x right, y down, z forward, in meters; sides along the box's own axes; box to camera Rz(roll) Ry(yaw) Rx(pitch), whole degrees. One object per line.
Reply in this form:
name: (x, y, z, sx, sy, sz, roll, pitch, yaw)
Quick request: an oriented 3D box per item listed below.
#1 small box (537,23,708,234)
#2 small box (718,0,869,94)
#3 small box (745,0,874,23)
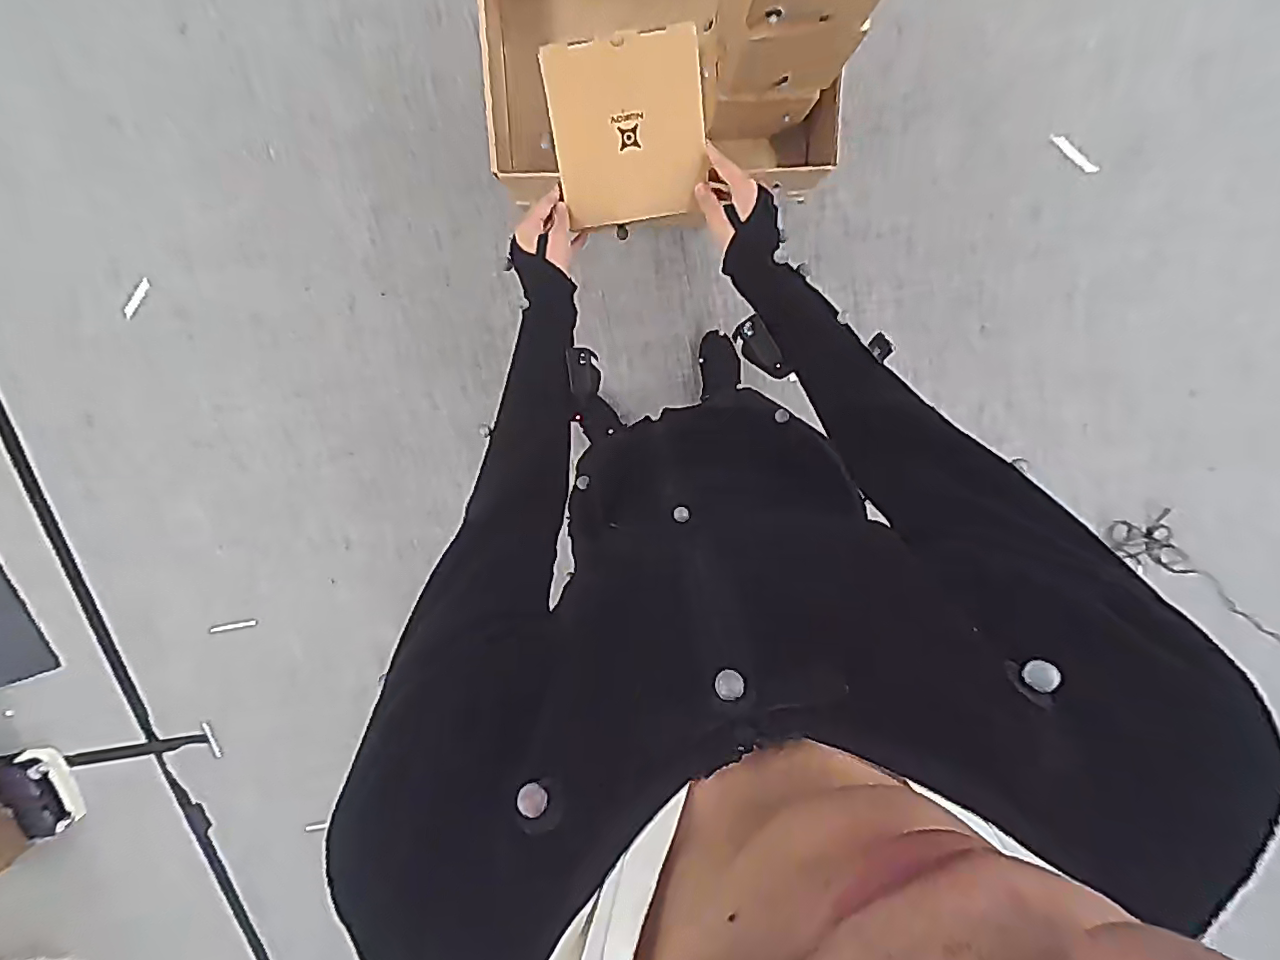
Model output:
small box: (-0.015, -0.400, 0.650, 0.168, 0.176, 0.179, -8, 111, 2)
small box: (0.219, -0.703, 0.800, 0.179, 0.176, 0.168, -4, 103, -1)
small box: (0.221, -0.682, 0.635, 0.168, 0.176, 0.179, 0, 102, -1)
